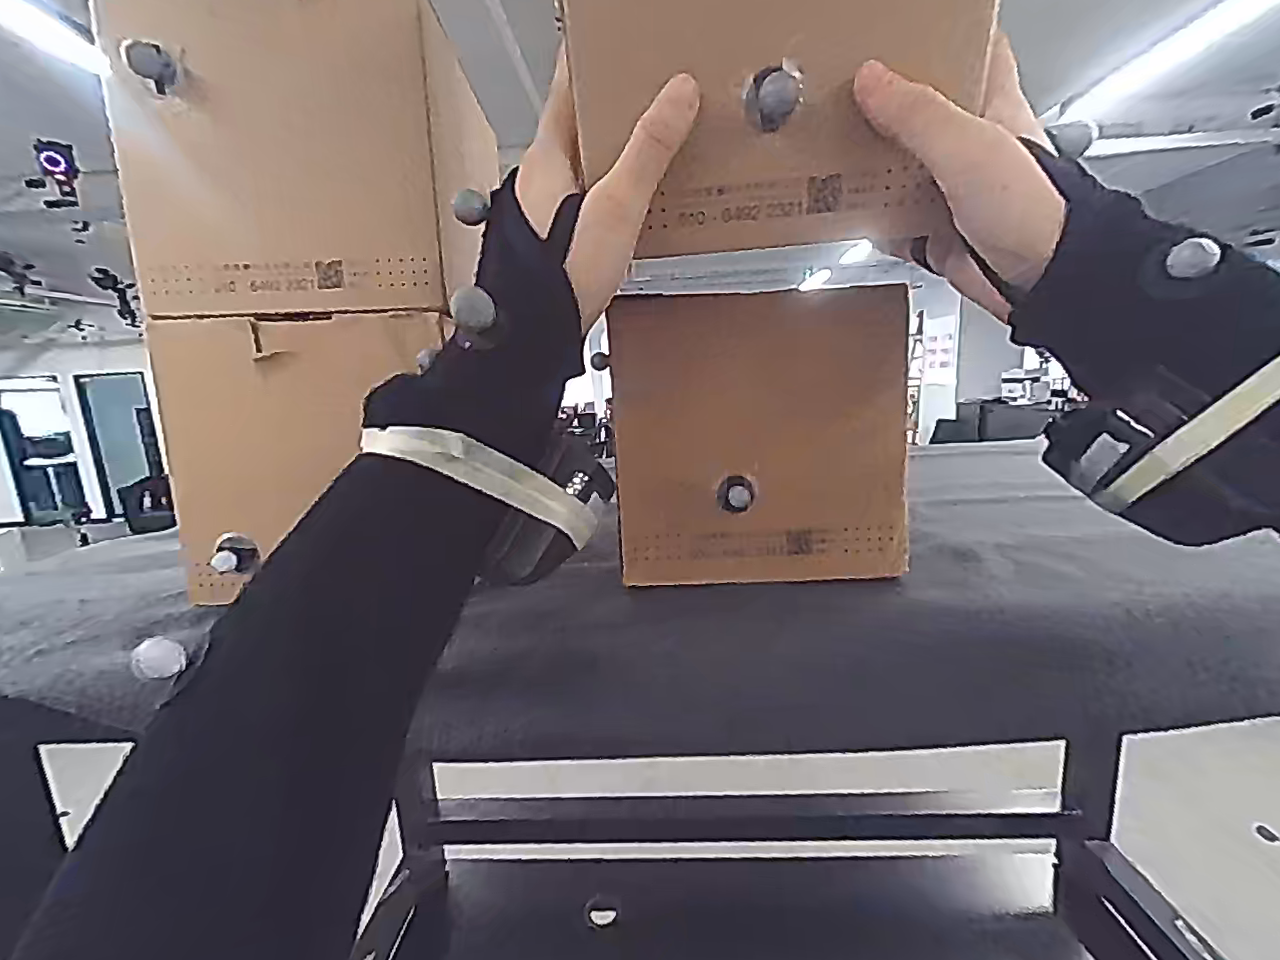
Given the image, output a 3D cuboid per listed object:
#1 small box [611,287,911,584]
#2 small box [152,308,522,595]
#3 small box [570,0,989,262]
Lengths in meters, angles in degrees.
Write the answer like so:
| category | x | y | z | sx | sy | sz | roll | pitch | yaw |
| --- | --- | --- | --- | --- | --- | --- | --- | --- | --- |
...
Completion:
| category | x | y | z | sx | sy | sz | roll | pitch | yaw |
| --- | --- | --- | --- | --- | --- | --- | --- | --- | --- |
| small box | 0.071 | -0.032 | 0.388 | 0.168 | 0.176 | 0.179 | -3 | 9 | 2 |
| small box | -0.186 | -0.021 | 0.392 | 0.168 | 0.176 | 0.179 | -2 | 8 | 0 |
| small box | 0.057 | -0.212 | 0.286 | 0.168 | 0.176 | 0.179 | -4 | 25 | 5 |
